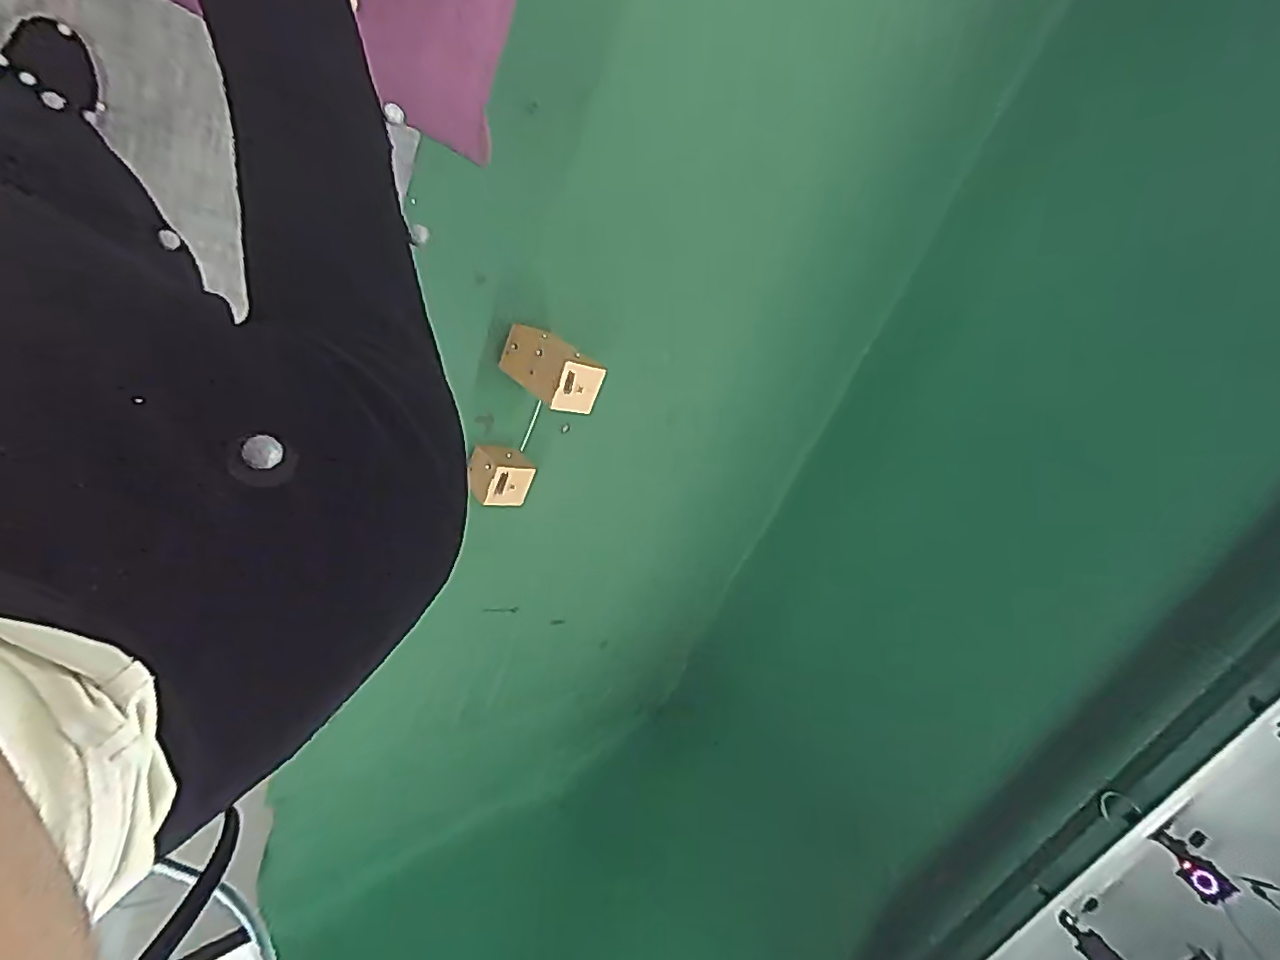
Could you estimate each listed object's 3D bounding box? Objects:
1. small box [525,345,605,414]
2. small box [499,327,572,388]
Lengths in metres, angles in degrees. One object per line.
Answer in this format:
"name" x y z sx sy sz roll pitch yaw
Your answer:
"small box" -0.255 -0.336 1.801 0.179 0.176 0.168 0 121 -49
"small box" -0.360 -0.419 1.894 0.179 0.176 0.168 1 120 -48
